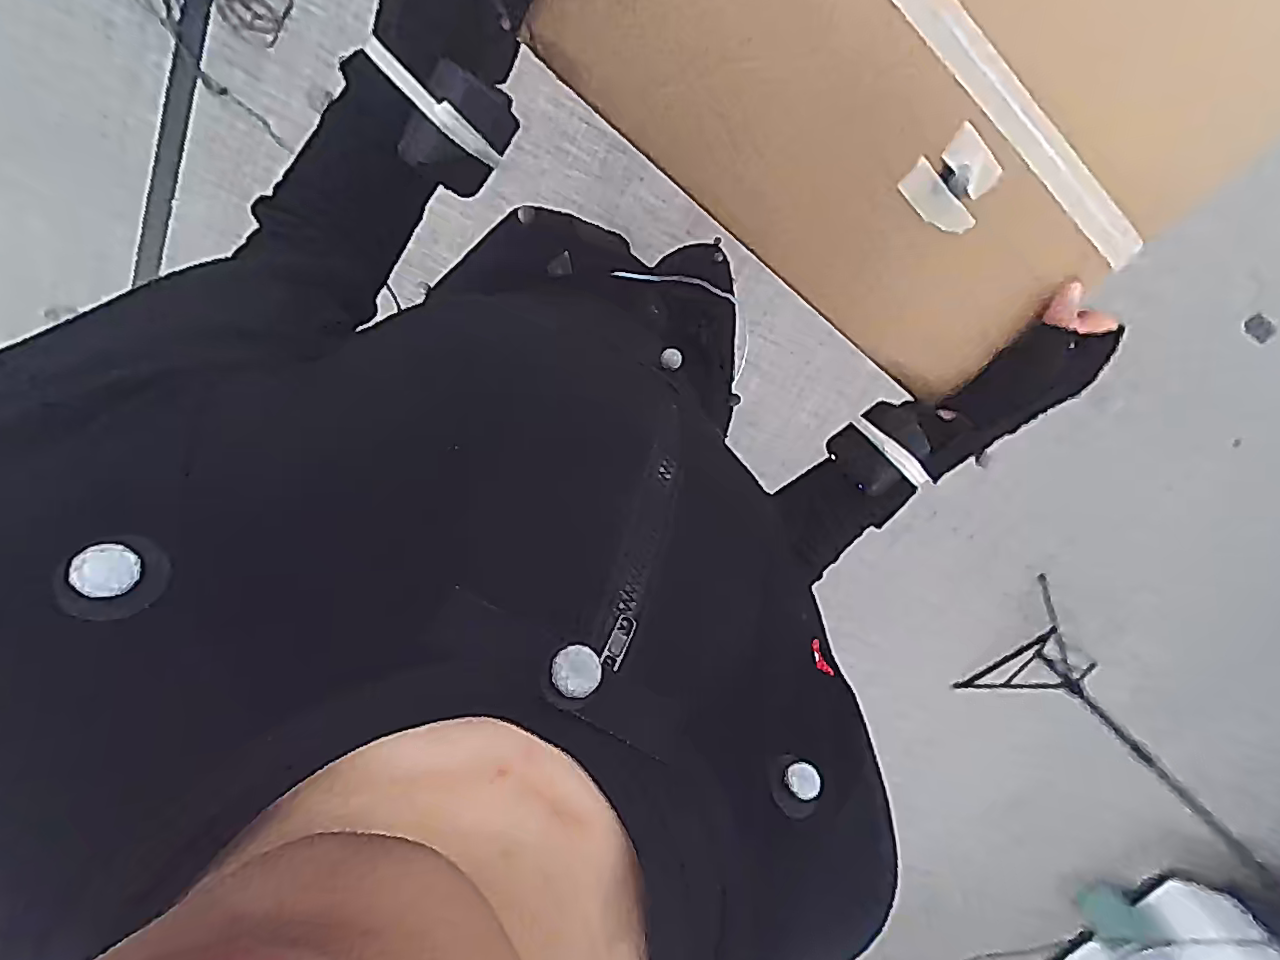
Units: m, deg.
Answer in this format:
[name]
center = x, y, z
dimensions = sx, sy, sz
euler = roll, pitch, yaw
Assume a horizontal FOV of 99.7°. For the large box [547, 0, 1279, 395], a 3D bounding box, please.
[large box]
center = 0.193, -0.354, 0.445
dimensions = 0.408, 0.320, 0.320
euler = 33, 123, -20
